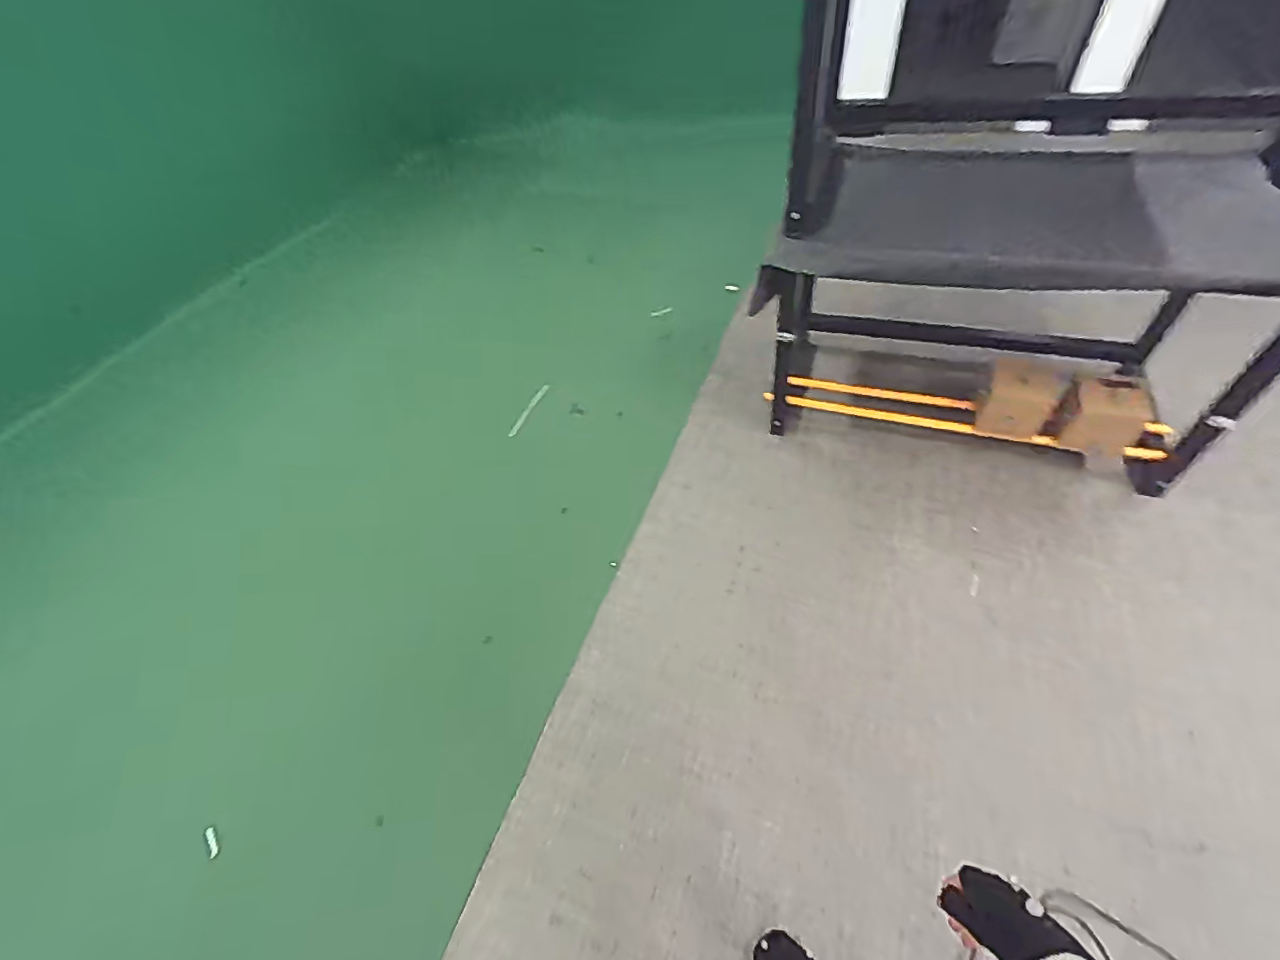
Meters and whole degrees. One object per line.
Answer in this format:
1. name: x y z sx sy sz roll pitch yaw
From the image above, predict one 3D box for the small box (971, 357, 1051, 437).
1. small box: 1.162 -0.258 1.703 0.168 0.176 0.179 12 54 18
